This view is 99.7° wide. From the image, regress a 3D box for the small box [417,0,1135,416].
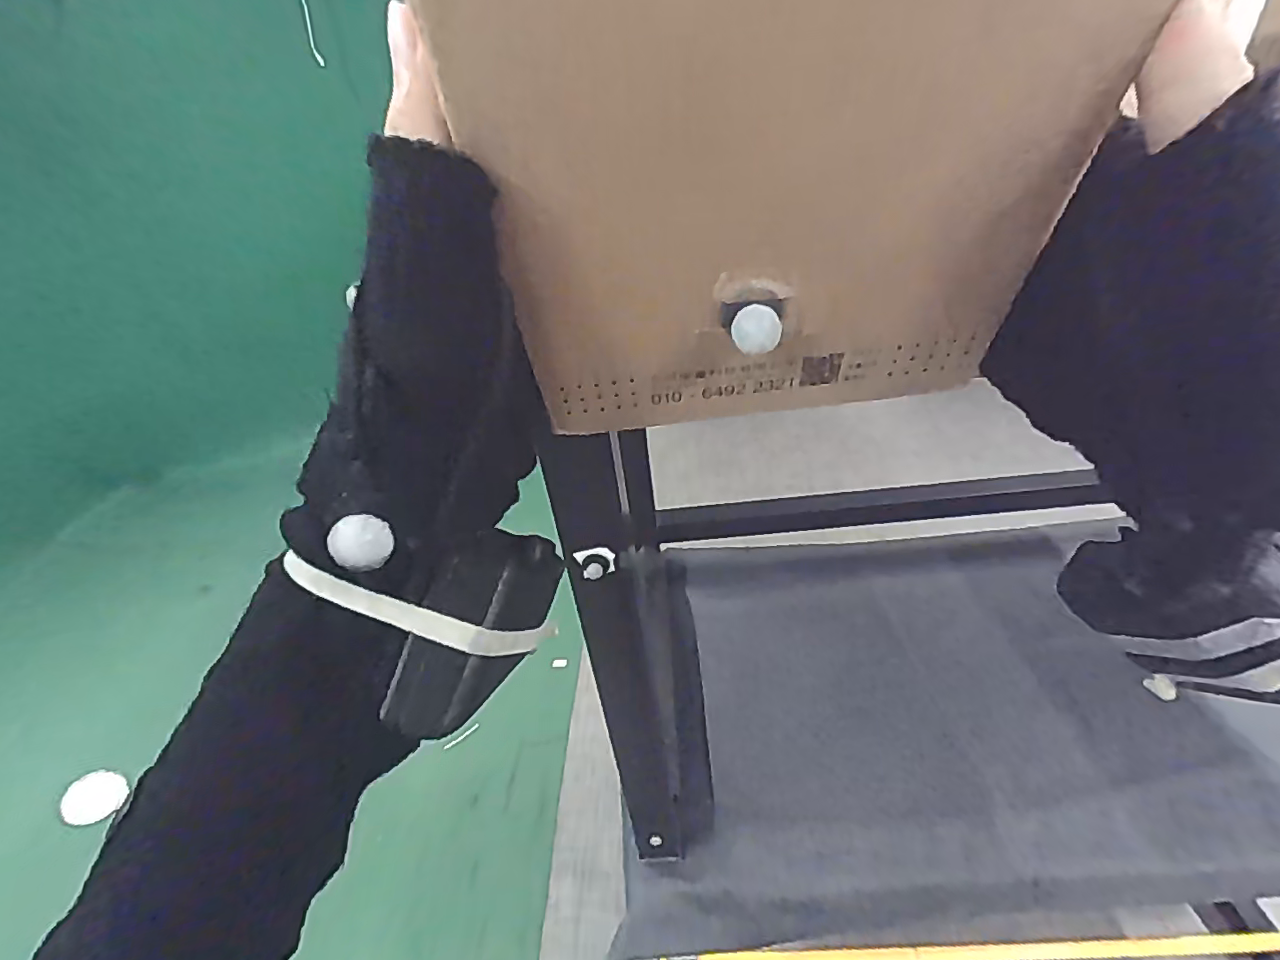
[{"bbox_3d":[0.028,-0.148,0.201,0.168,0.176,0.179,-7,55,3],"label":"small box"}]
